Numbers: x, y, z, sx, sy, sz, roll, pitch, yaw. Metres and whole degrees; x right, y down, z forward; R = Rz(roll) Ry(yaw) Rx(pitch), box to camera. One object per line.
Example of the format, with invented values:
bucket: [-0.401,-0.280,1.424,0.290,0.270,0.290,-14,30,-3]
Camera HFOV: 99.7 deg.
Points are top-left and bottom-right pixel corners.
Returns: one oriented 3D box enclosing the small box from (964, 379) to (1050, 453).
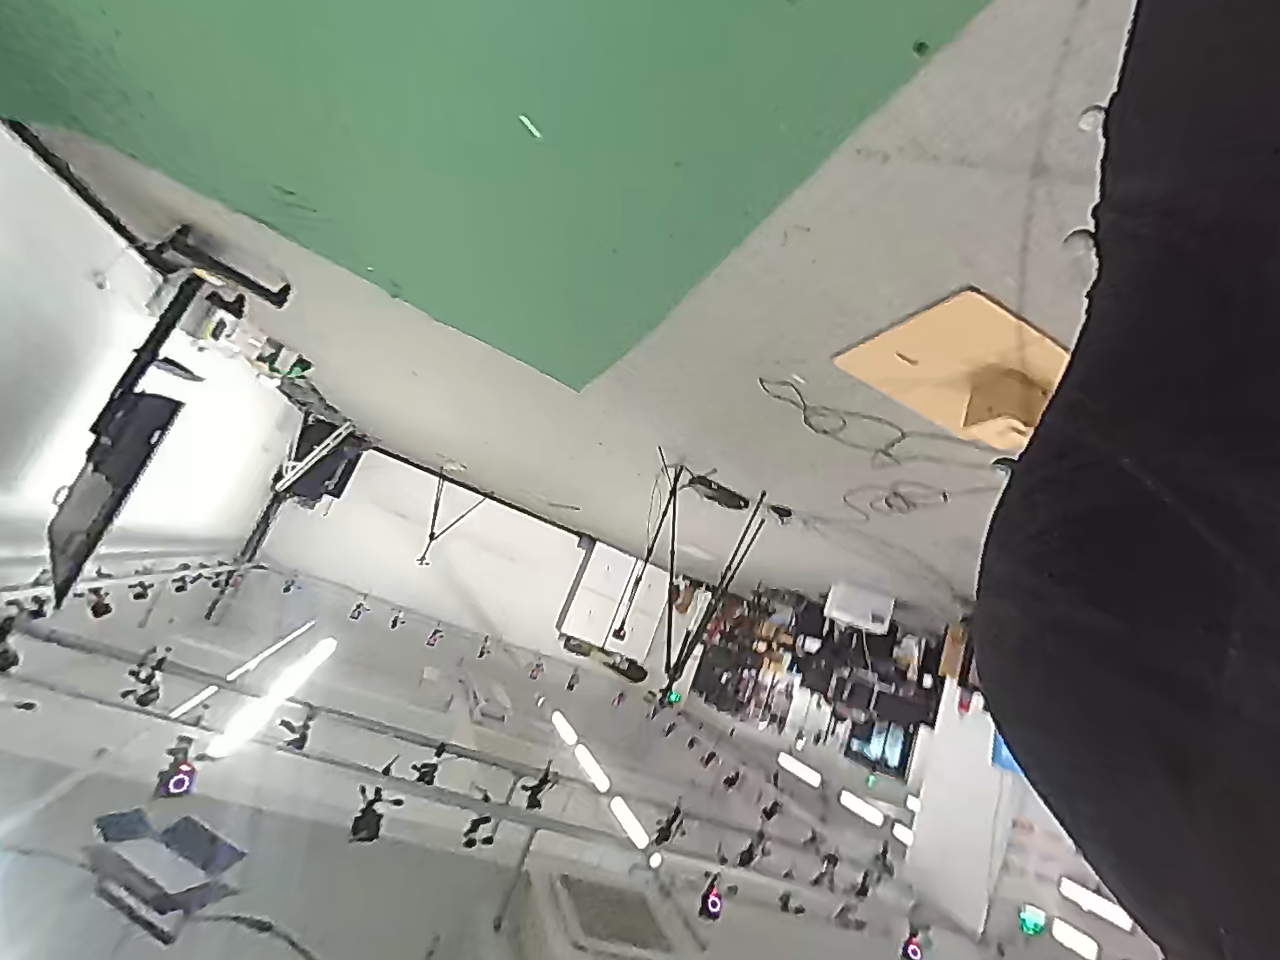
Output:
small box: [1.227,-0.213,1.802,0.168,0.176,0.179,24,166,-9]
